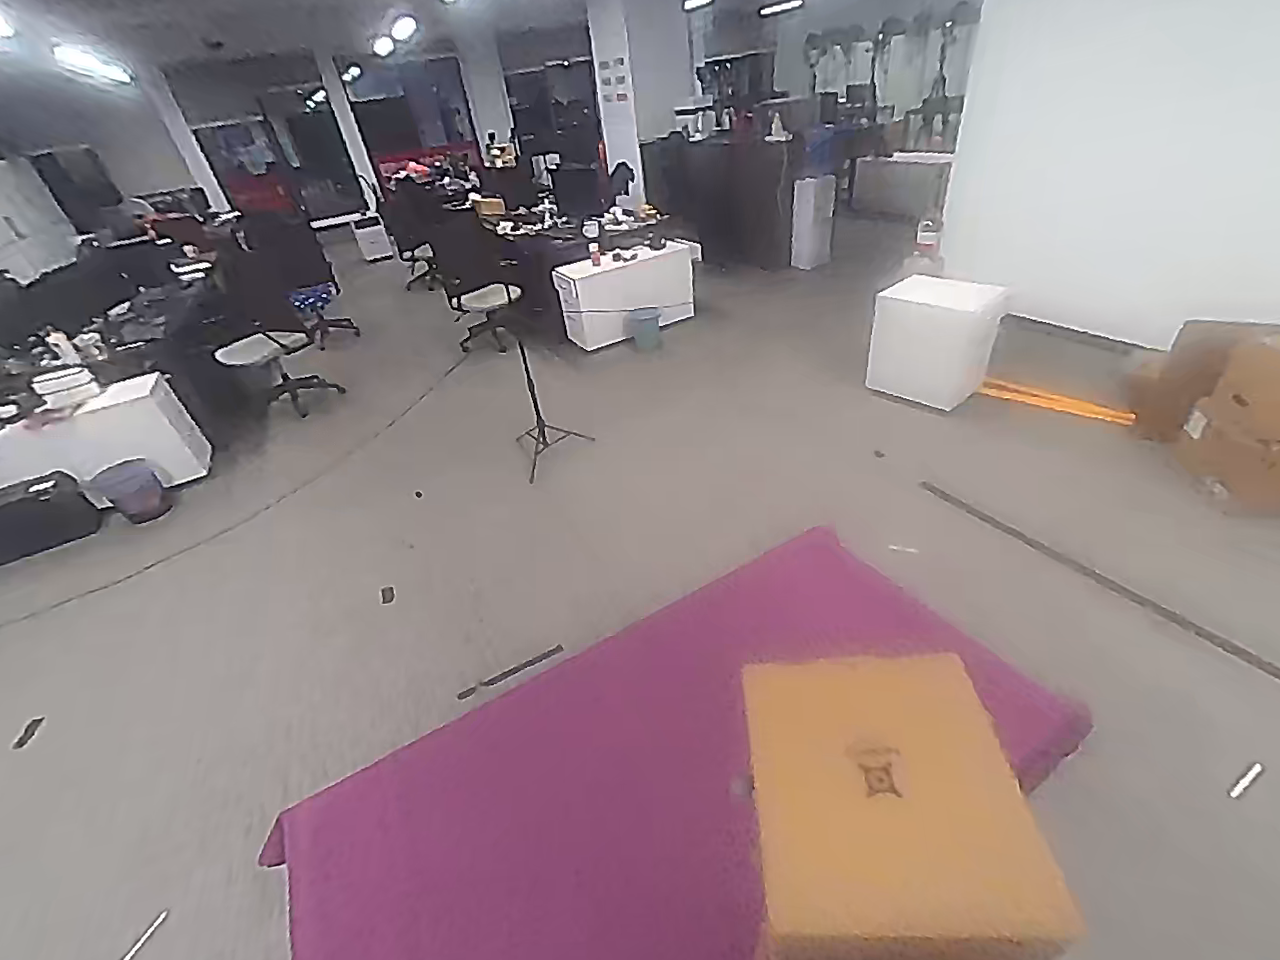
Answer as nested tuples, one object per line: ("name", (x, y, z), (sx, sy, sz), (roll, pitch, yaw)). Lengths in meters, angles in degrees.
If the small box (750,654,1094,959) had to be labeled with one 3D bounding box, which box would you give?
("small box", (0.178, 0.257, 0.403), (0.168, 0.176, 0.179), (-6, 36, 9))
